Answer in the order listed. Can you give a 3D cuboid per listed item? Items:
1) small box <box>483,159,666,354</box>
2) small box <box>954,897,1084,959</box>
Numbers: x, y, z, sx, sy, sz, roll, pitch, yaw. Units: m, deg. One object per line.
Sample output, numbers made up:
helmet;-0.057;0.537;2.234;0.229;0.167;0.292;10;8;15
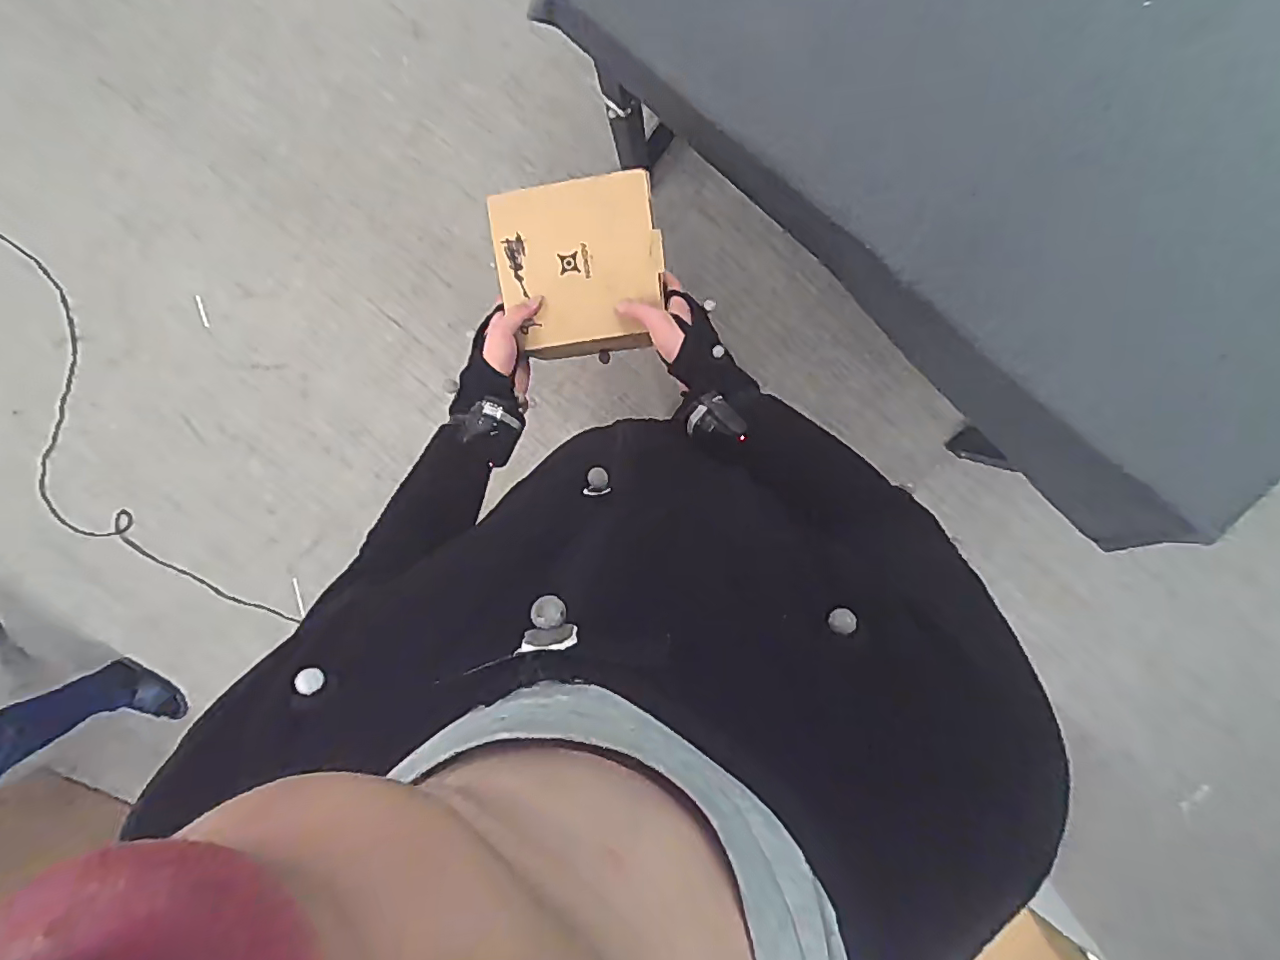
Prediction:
small box;-0.065;-0.249;0.644;0.179;0.176;0.168;-7;97;4
small box;0.736;0.940;1.009;0.168;0.176;0.179;39;103;-4
